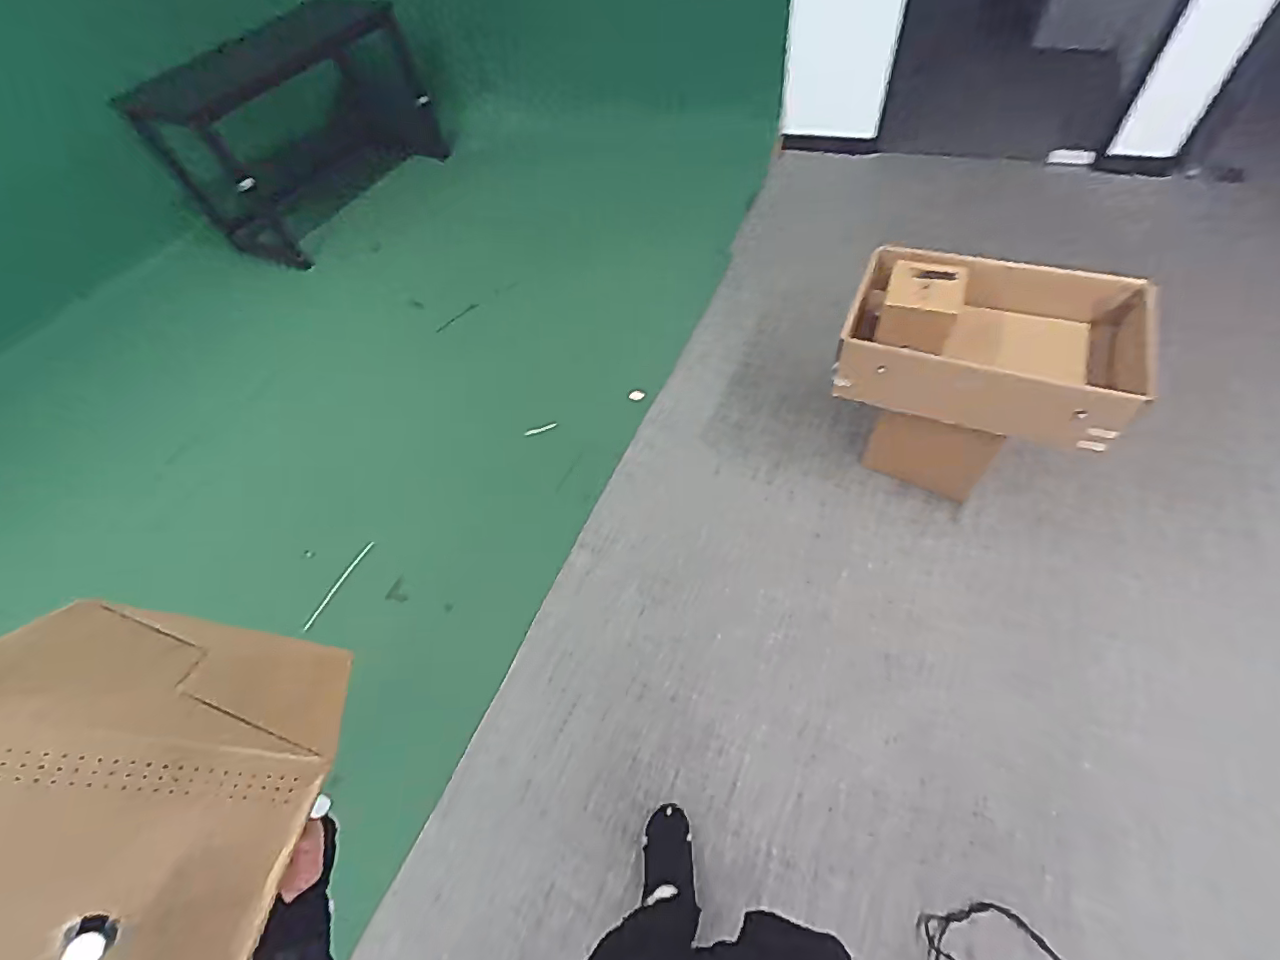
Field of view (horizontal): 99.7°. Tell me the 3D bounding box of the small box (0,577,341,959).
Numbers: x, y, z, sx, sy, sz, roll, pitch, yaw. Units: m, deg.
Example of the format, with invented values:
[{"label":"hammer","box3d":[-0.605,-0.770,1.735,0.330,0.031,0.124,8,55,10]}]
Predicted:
[{"label":"small box","box3d":[-0.298,0.173,0.322,0.179,0.168,0.176,23,84,-25]}]
